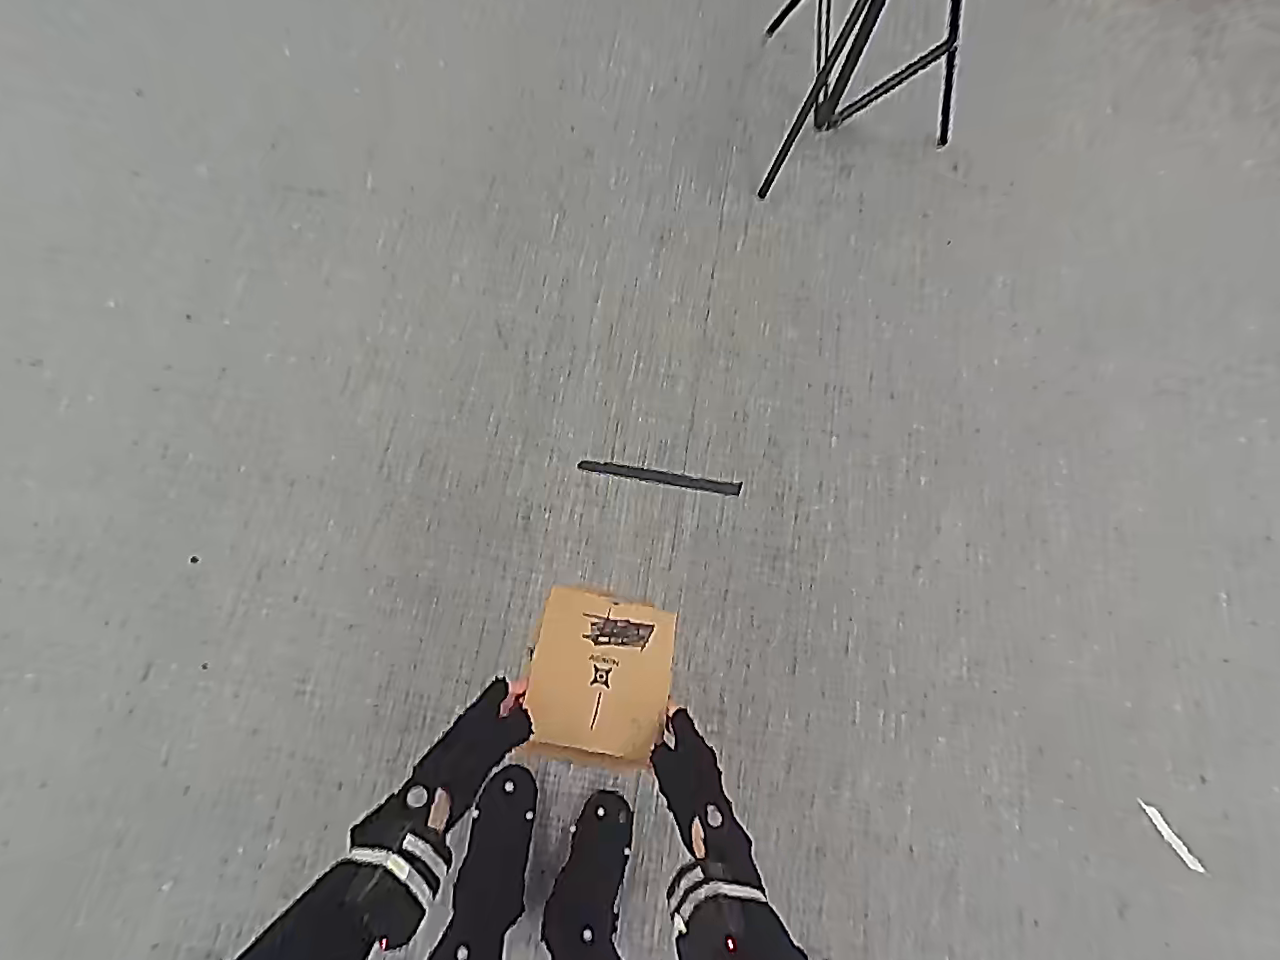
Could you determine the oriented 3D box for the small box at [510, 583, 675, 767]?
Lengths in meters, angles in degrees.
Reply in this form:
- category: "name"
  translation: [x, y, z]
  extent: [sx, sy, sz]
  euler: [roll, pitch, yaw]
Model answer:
- category: "small box"
  translation: [-0.066, 0.259, 0.699]
  extent: [0.168, 0.176, 0.179]
  euler: [15, 58, -9]
